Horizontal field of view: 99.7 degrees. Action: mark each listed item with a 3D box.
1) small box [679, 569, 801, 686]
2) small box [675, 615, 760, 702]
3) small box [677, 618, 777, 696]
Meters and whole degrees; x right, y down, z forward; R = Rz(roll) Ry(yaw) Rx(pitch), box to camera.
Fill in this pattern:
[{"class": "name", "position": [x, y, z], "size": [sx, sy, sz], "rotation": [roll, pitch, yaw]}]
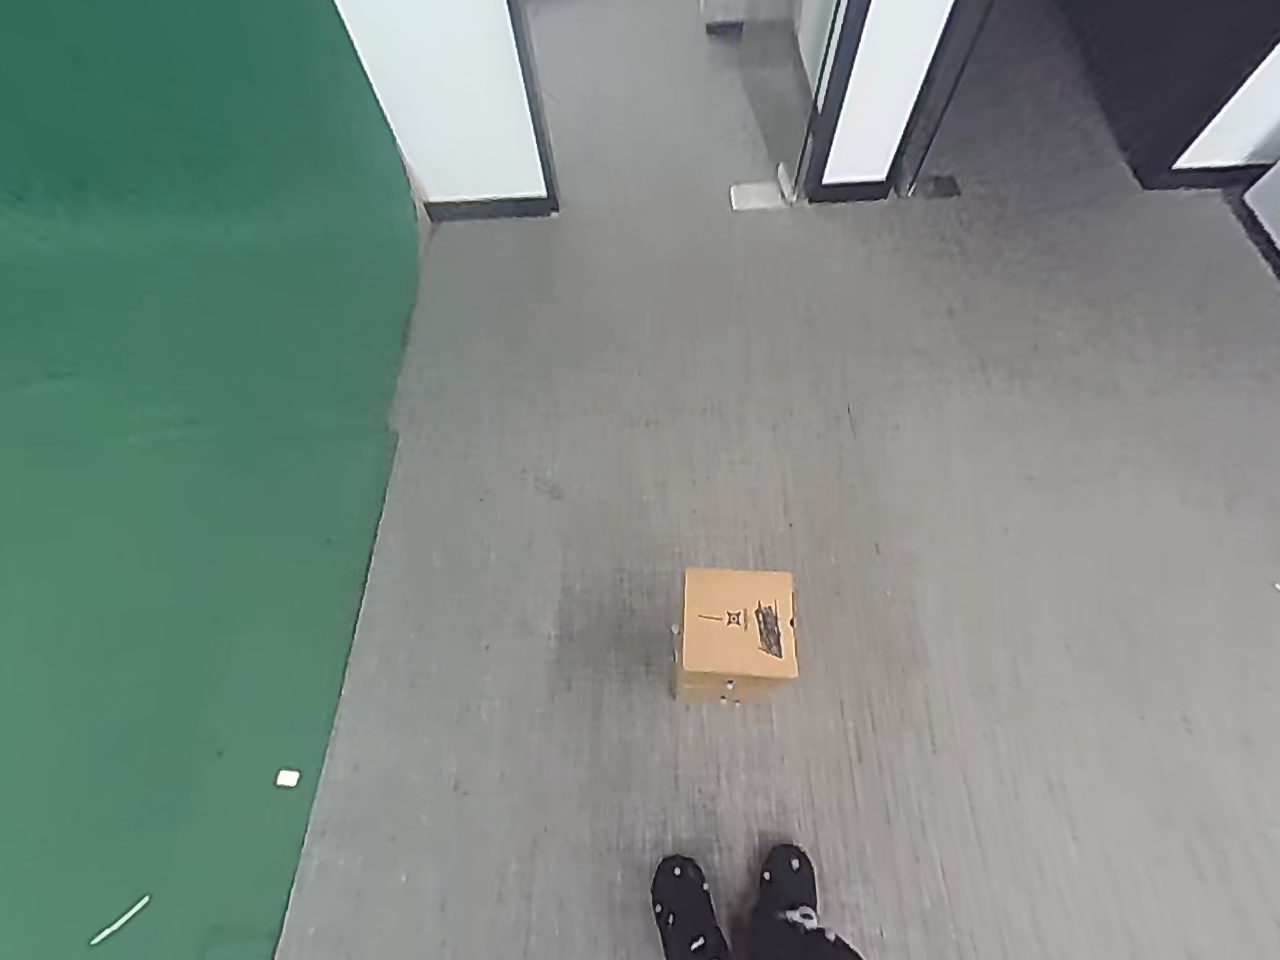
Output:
[{"class": "small box", "position": [0.161, 0.257, 0.930], "size": [0.179, 0.176, 0.168], "rotation": [0, 63, 1]}, {"class": "small box", "position": [0.169, 0.405, 1.223], "size": [0.179, 0.176, 0.168], "rotation": [-1, 63, 4]}, {"class": "small box", "position": [0.166, 0.333, 1.076], "size": [0.179, 0.176, 0.168], "rotation": [2, 63, 3]}]
